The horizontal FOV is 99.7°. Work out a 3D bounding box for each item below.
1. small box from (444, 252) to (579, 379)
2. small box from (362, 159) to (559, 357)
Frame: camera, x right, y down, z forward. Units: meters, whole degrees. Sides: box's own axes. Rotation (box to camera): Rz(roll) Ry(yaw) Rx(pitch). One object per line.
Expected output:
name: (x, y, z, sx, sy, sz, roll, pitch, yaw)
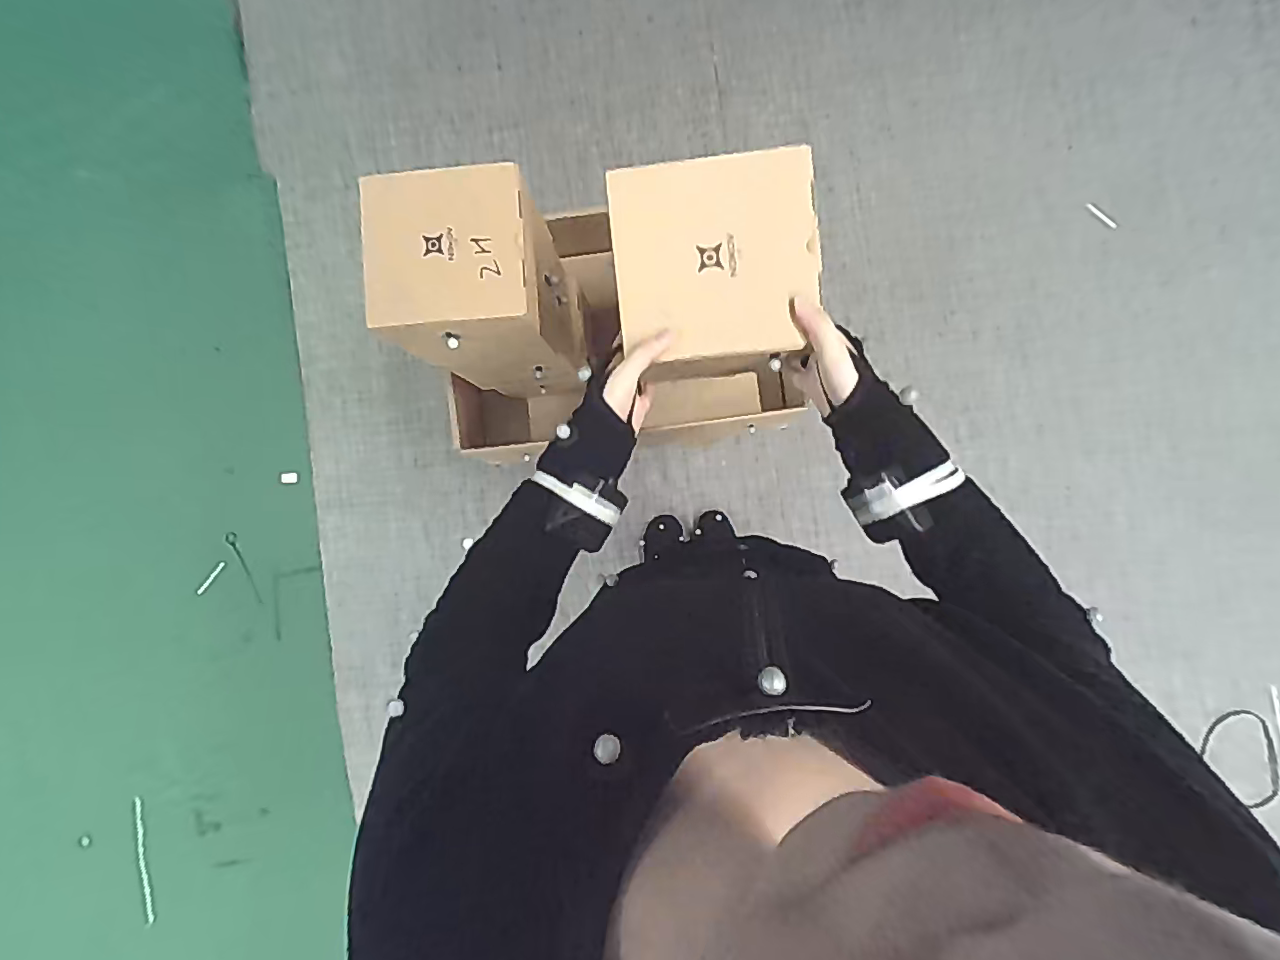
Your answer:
small box: (-0.193, -0.257, 0.819, 0.168, 0.176, 0.179, -6, 88, 4)
small box: (-0.205, -0.252, 0.655, 0.179, 0.176, 0.168, -3, 89, 3)
